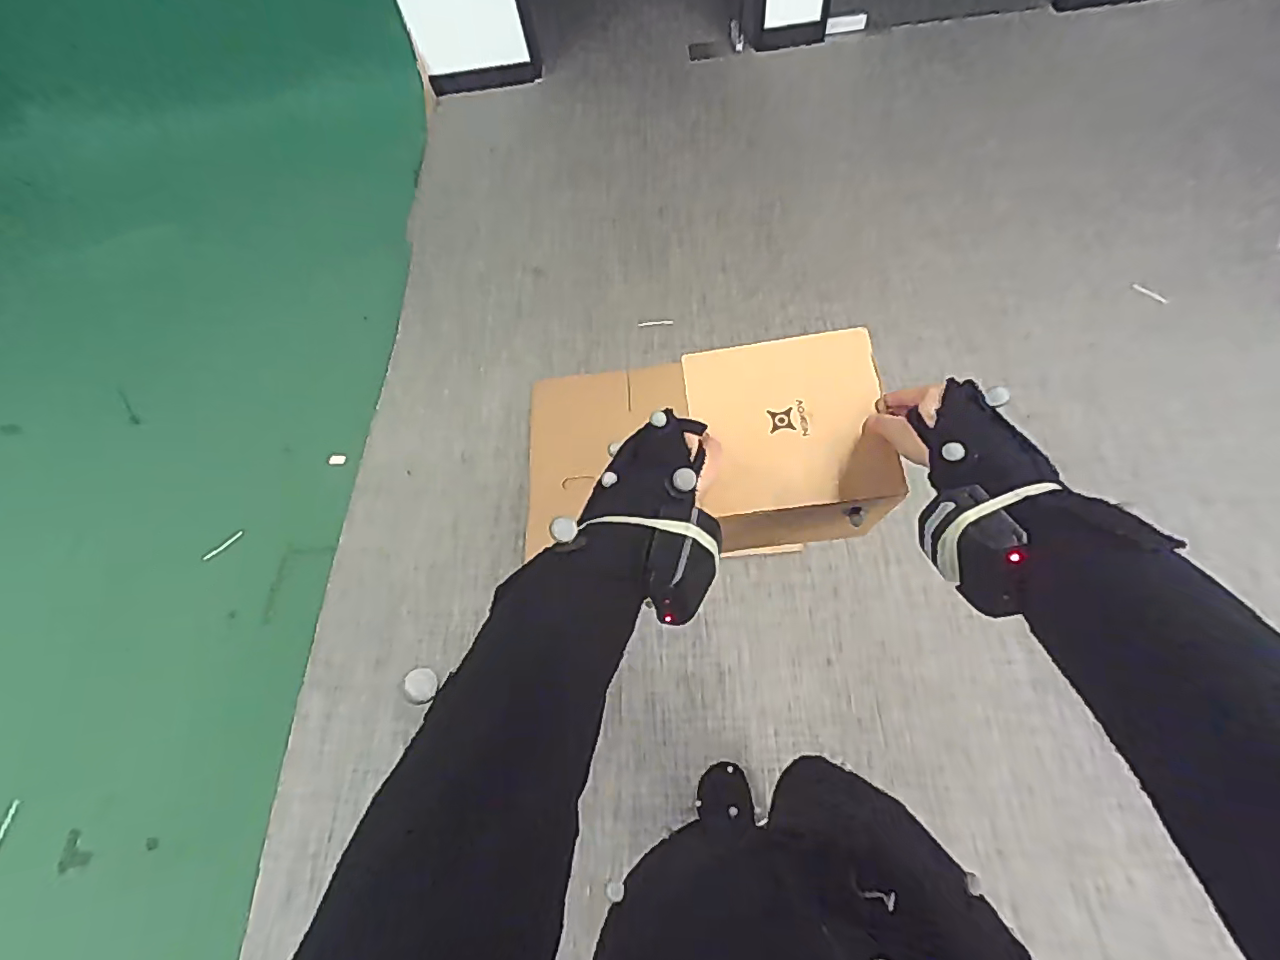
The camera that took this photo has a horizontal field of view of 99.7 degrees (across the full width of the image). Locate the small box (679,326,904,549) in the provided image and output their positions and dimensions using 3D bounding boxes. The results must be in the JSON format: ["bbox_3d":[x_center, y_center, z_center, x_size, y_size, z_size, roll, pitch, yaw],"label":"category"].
[{"bbox_3d":[0.142,-0.030,0.559,0.179,0.176,0.168,-8,71,6],"label":"small box"}]
